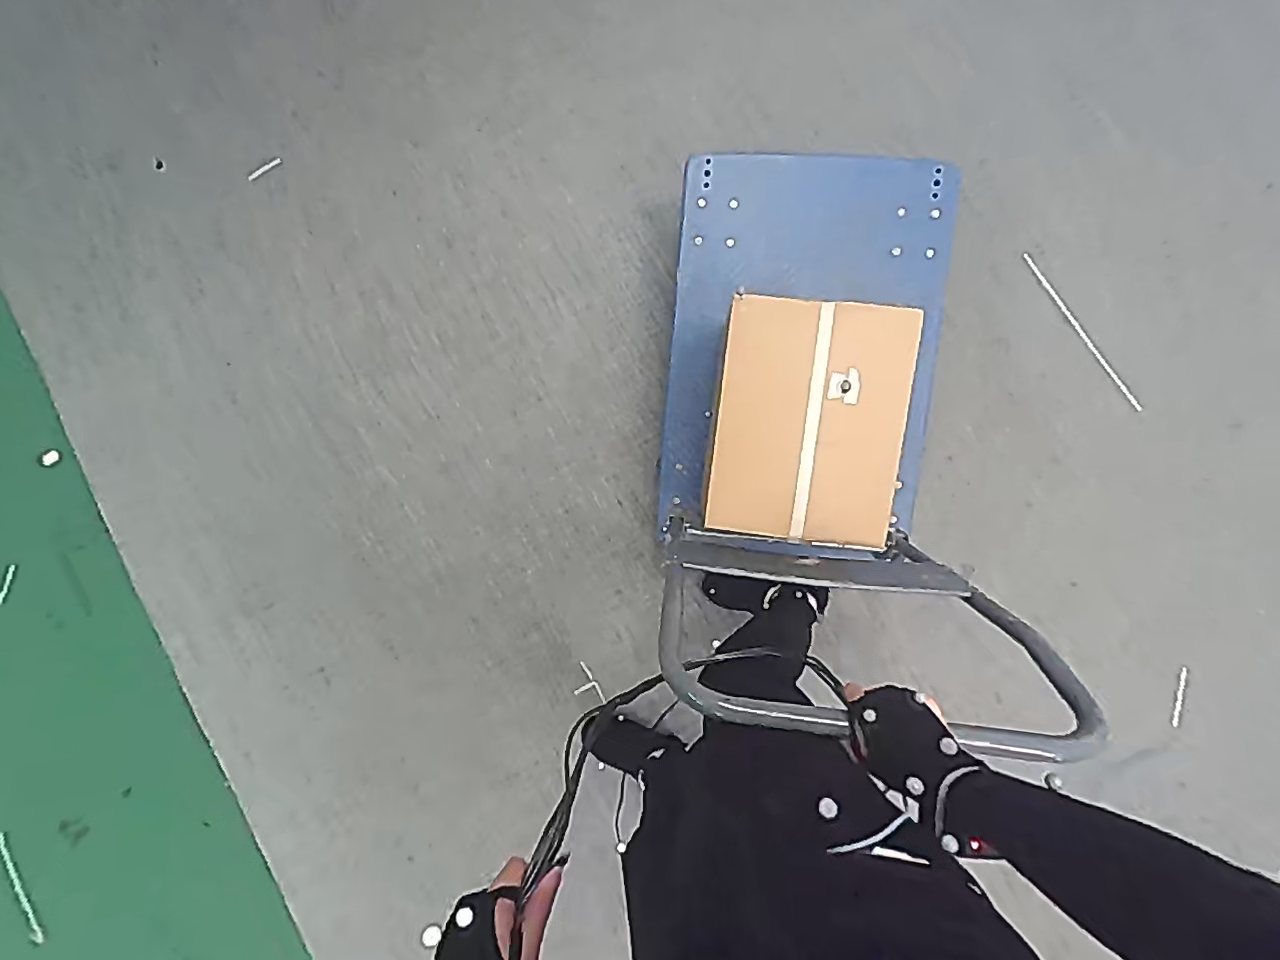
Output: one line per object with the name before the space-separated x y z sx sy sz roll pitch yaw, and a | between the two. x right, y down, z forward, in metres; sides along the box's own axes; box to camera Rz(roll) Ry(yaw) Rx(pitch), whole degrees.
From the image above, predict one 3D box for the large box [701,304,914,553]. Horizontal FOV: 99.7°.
large box | 0.295 -0.098 1.071 0.320 0.320 0.408 8 96 3
